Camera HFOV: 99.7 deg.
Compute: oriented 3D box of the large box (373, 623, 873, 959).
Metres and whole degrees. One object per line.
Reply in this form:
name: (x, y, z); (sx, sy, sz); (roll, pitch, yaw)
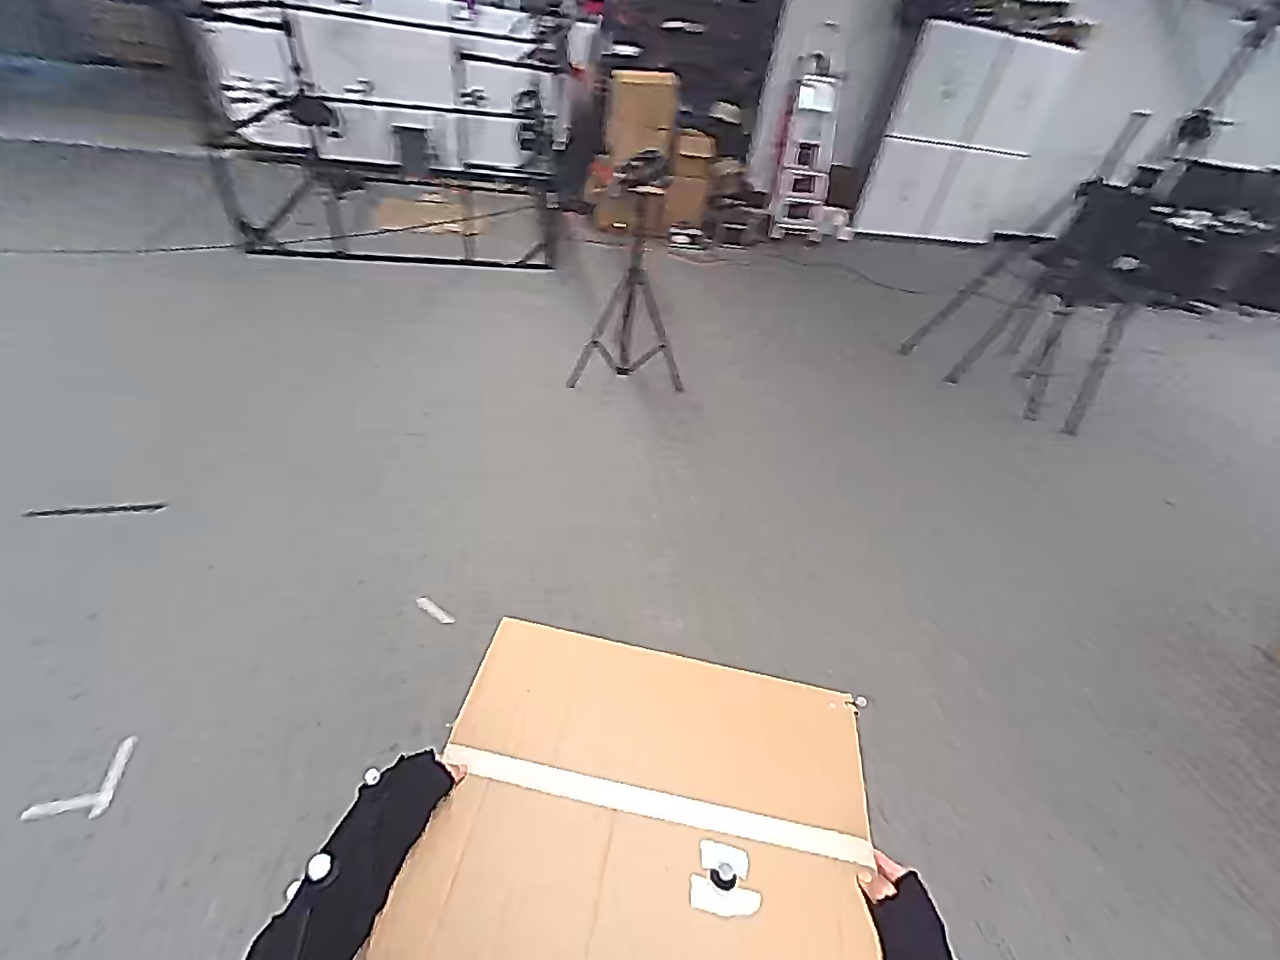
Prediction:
large box: (-0.010, 0.411, 0.611); (0.408, 0.320, 0.320); (12, 42, 2)
